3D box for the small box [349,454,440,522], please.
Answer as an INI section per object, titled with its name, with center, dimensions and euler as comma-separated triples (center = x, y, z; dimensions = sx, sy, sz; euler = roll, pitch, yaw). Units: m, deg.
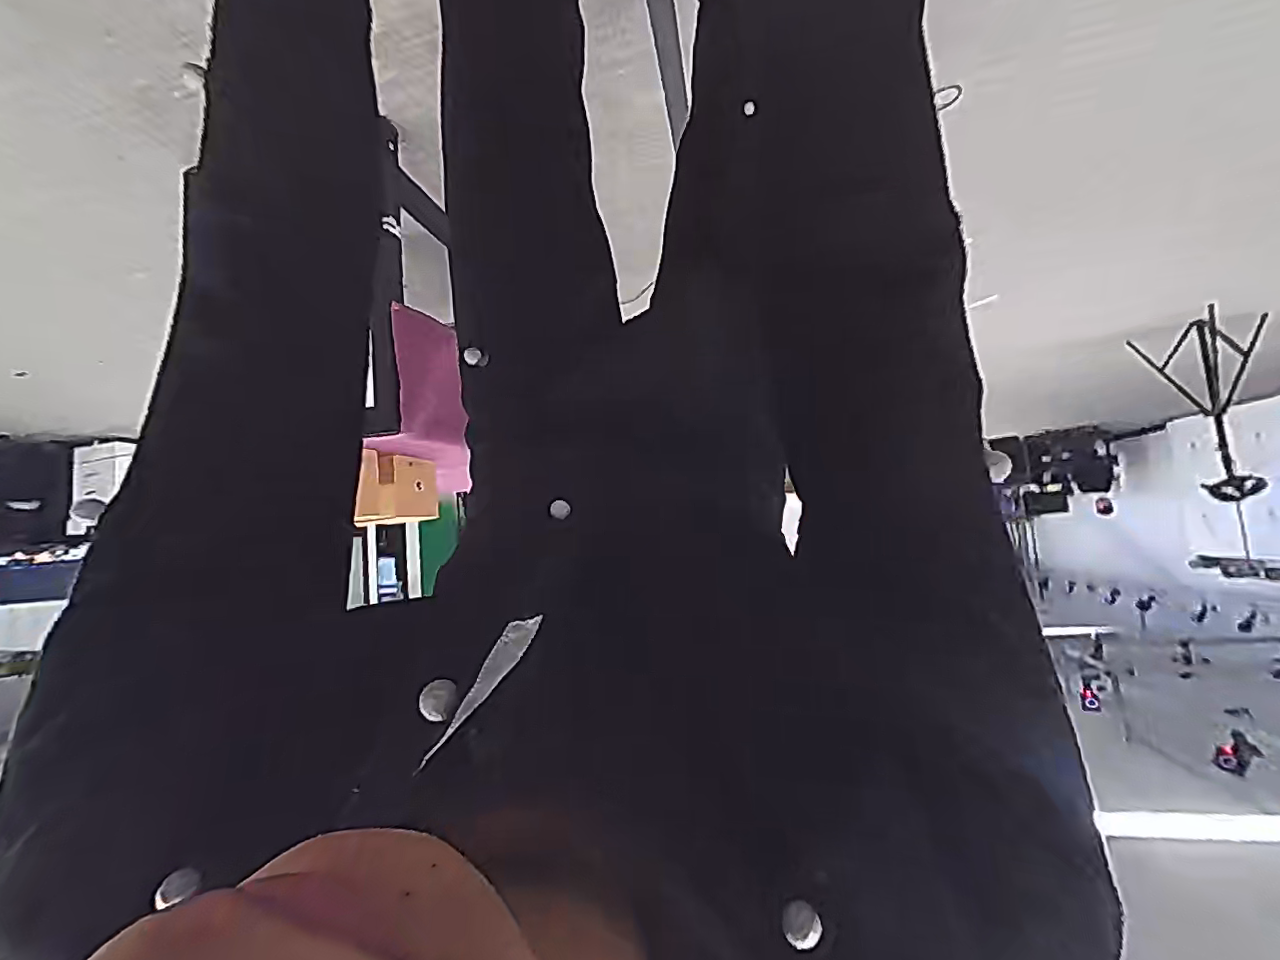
[small box]
center = -0.680, 0.024, 1.492
dimensions = 0.179, 0.176, 0.168
euler = -6, 175, 18
